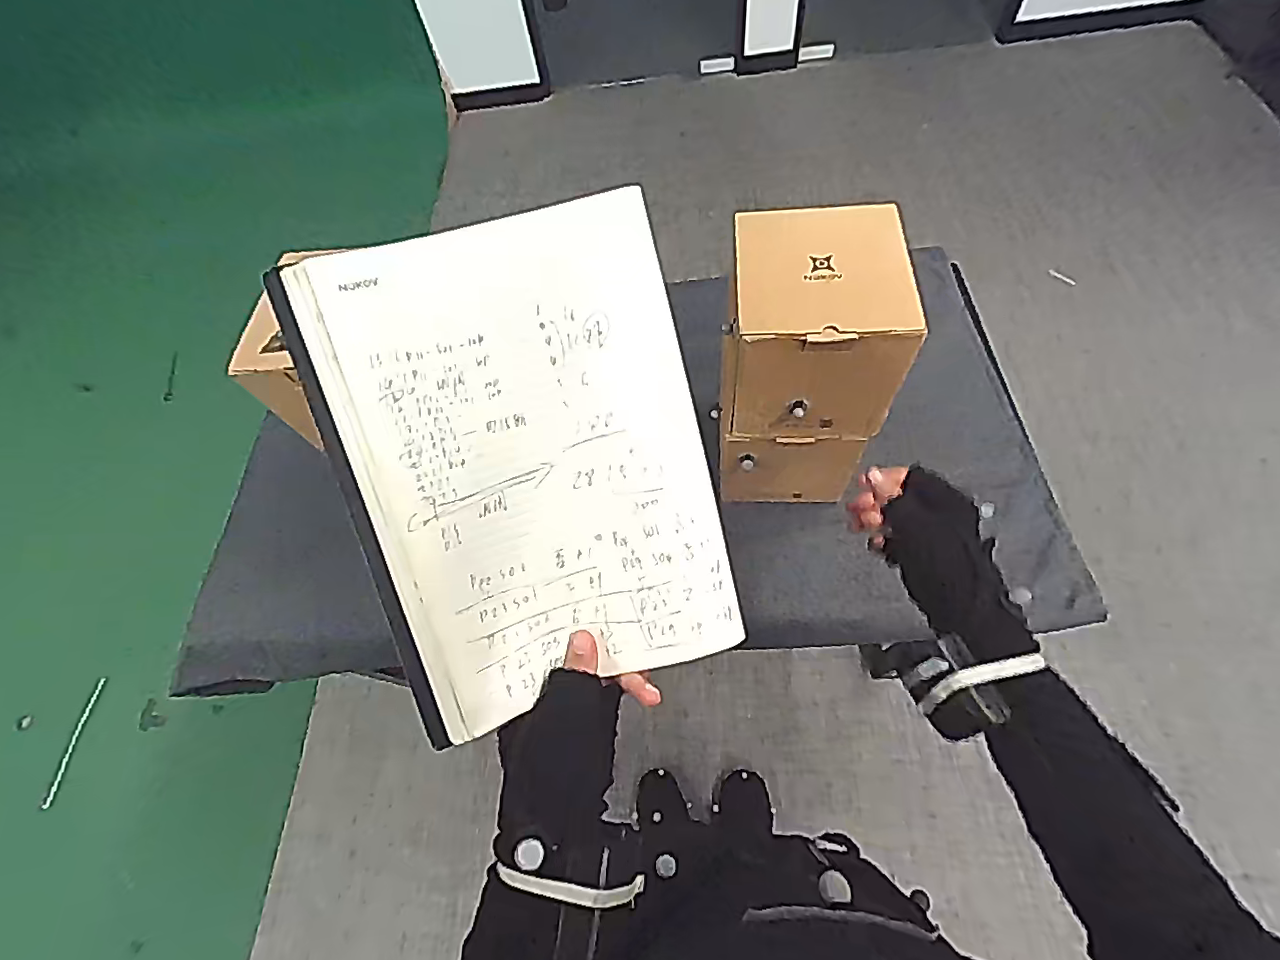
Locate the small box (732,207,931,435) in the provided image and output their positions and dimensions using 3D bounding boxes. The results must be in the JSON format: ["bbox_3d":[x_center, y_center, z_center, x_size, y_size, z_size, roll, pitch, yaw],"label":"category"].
[{"bbox_3d":[0.189,-0.167,0.595,0.168,0.176,0.179,-1,62,7],"label":"small box"}]

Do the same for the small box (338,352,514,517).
[{"bbox_3d":[-0.291,-0.061,0.783,0.168,0.176,0.179,-3,61,6],"label":"small box"}]

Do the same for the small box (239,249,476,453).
[{"bbox_3d":[-0.311,-0.142,0.641,0.168,0.176,0.179,-1,60,6],"label":"small box"}]
